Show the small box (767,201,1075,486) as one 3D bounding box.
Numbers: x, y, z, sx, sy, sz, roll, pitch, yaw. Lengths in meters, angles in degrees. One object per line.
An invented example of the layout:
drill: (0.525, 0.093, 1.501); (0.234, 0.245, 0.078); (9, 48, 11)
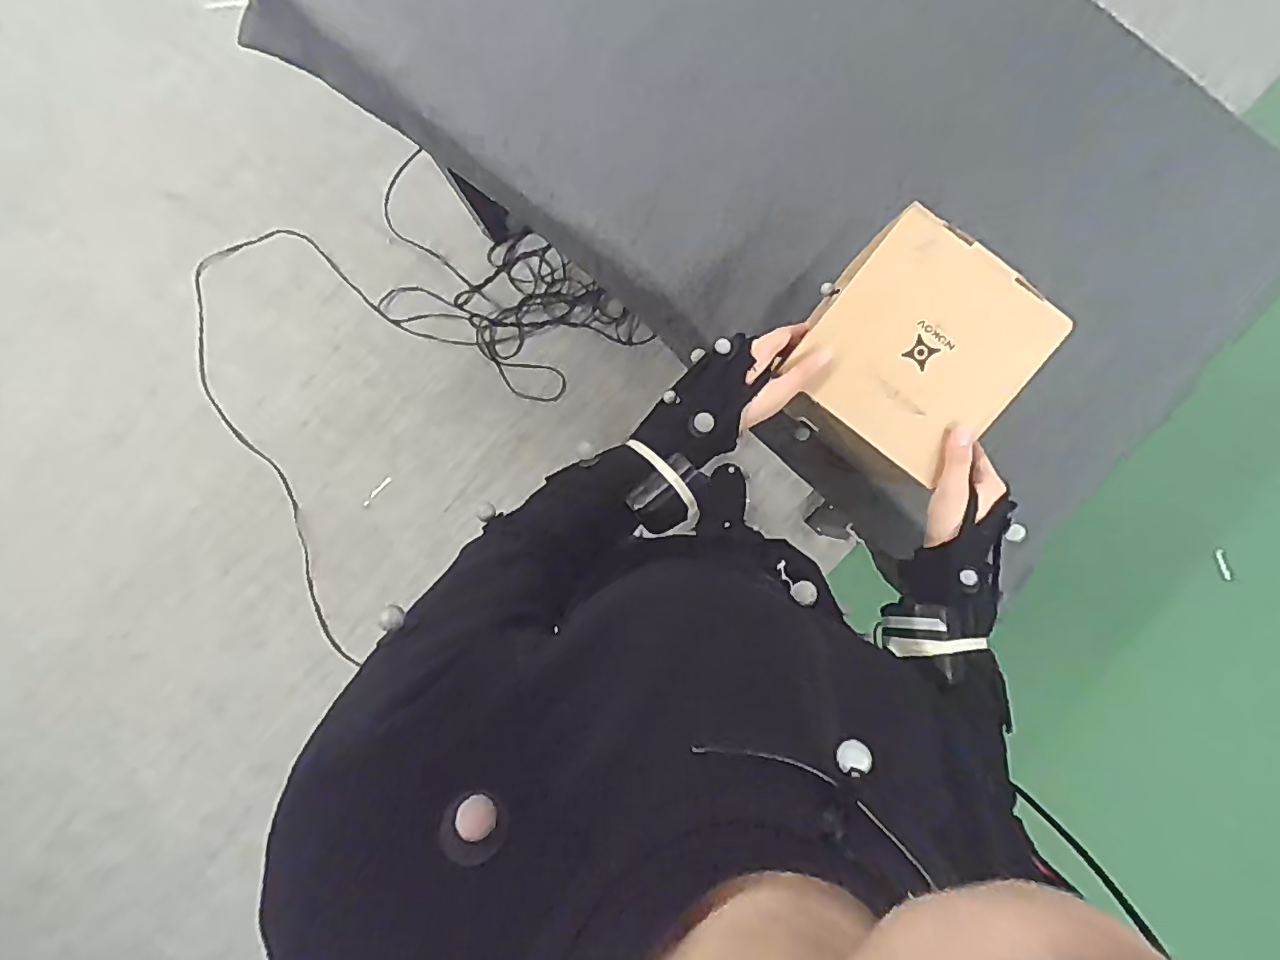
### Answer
small box: (0.243, -0.118, 0.524); (0.168, 0.176, 0.179); (37, 98, 1)
